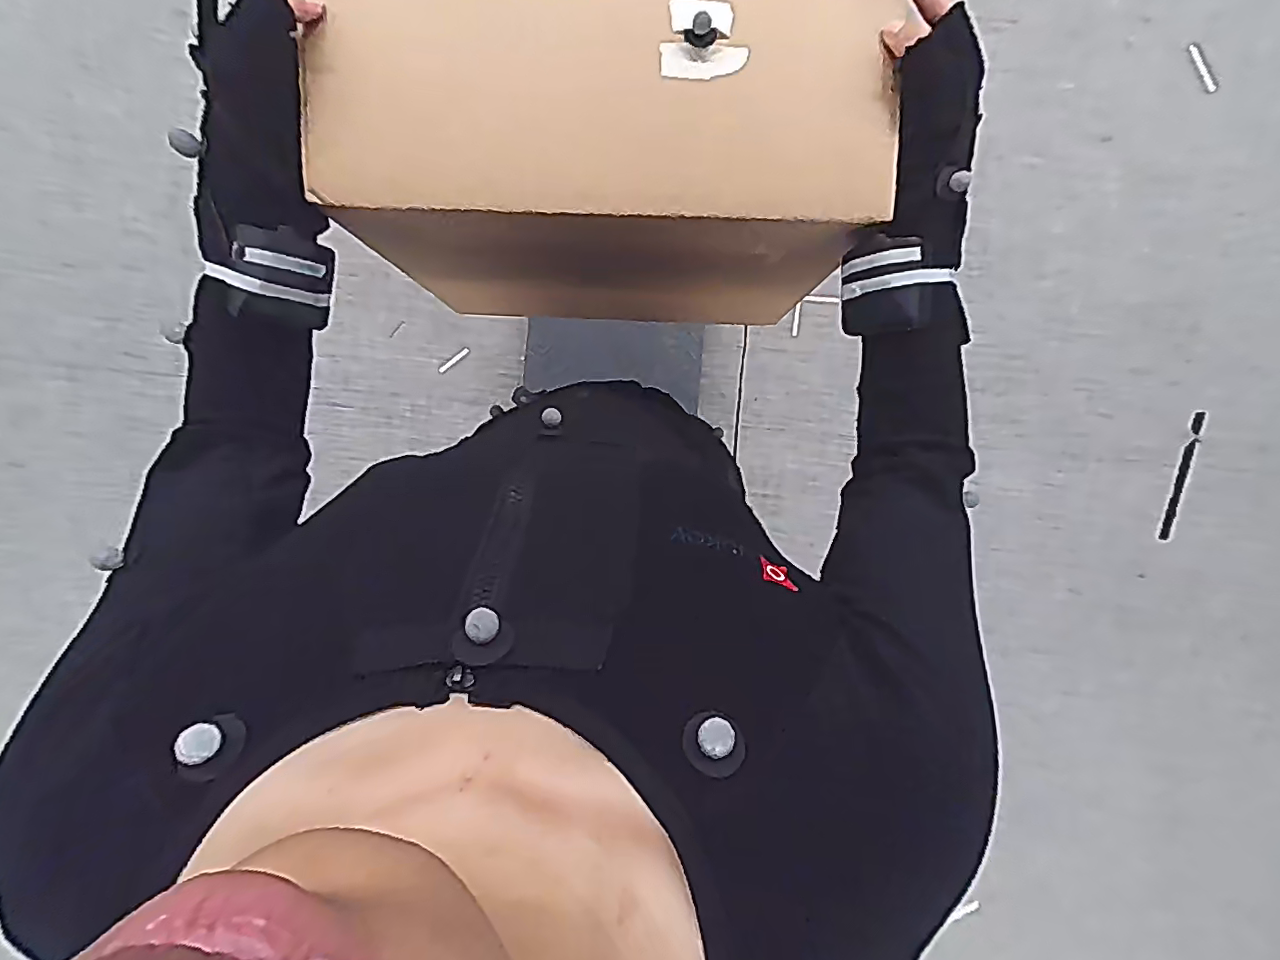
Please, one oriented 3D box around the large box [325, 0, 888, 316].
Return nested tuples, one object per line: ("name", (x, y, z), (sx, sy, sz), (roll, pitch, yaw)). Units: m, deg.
("large box", (-0.024, -0.354, 0.529), (0.408, 0.320, 0.320), (1, 94, -1))
